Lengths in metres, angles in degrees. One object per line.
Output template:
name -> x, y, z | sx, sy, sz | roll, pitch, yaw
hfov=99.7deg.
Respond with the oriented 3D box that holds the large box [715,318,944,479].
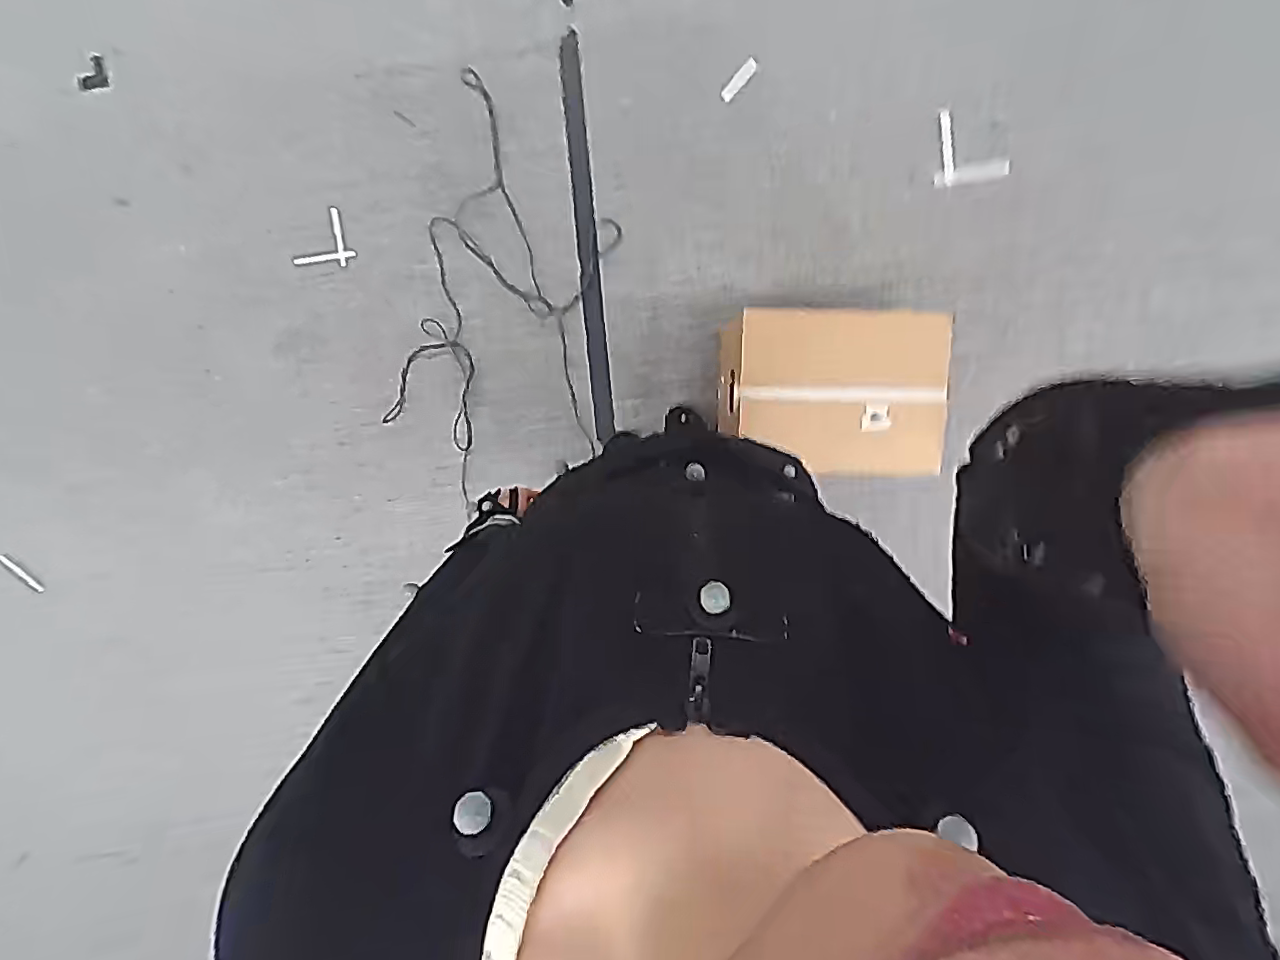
large box -> 0.387, -0.173, 1.206 | 0.408, 0.320, 0.320 | 1, 97, -1
